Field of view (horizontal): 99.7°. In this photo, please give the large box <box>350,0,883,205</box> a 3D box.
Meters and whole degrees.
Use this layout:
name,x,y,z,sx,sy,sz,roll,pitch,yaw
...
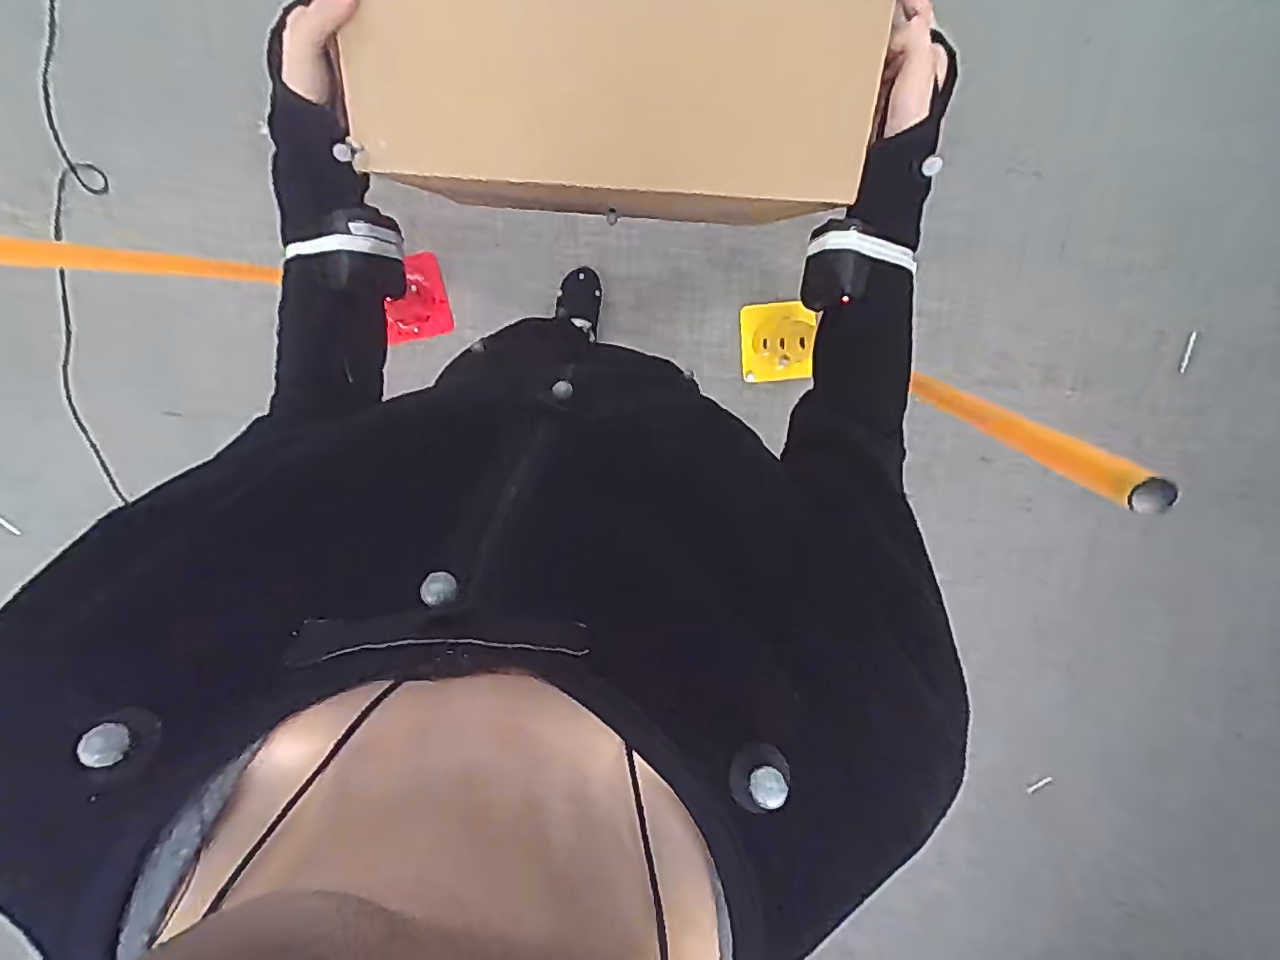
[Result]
name,x,y,z,sx,sy,sz,roll,pitch,yaw
large box,-0.016,-0.453,0.523,0.408,0.320,0.320,2,112,-3
